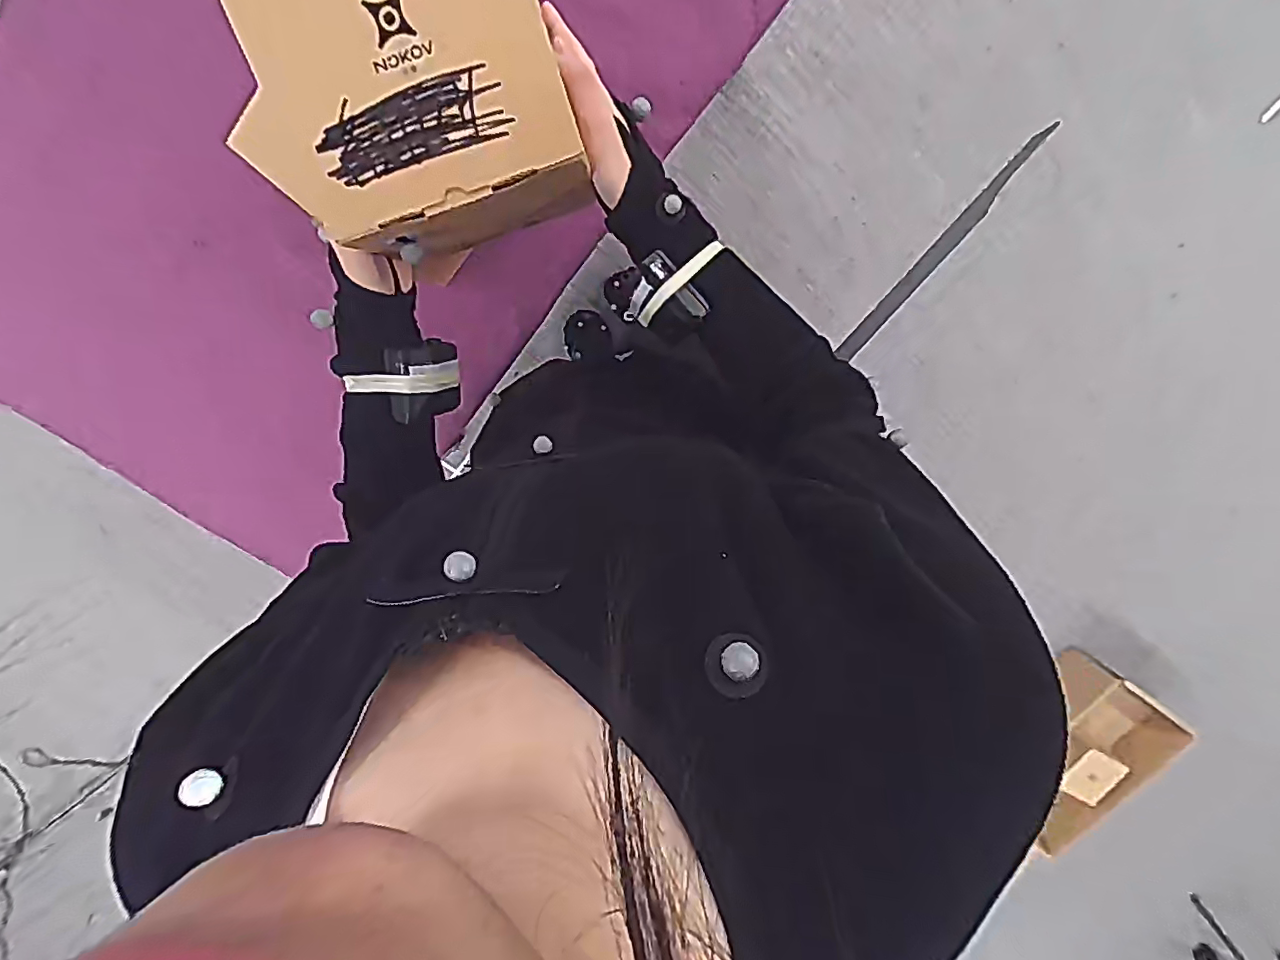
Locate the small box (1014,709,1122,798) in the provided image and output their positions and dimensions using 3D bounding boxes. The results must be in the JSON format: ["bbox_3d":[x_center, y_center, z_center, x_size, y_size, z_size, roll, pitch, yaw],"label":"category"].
[{"bbox_3d":[1.385,0.883,1.761,0.179,0.176,0.168,29,103,-11],"label":"small box"}]

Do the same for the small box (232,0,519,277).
[{"bbox_3d":[-0.252,-0.331,0.562,0.179,0.176,0.168,40,103,-13],"label":"small box"}]
